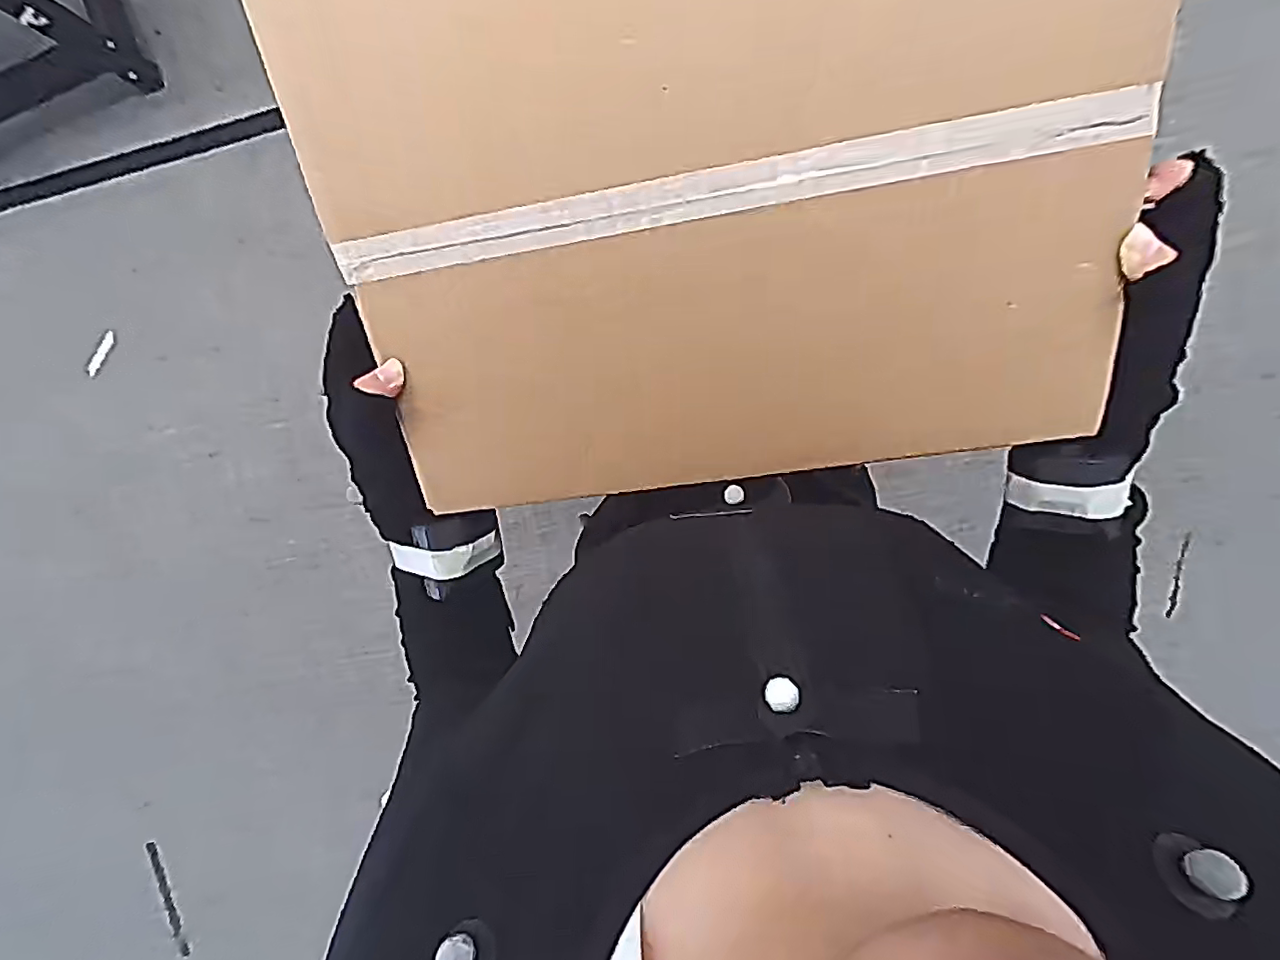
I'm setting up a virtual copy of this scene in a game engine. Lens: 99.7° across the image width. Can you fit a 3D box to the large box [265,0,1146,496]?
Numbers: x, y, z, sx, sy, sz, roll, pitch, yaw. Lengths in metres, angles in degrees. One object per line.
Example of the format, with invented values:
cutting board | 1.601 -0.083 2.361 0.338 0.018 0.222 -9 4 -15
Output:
large box | 0.042 -0.213 0.415 0.408 0.320 0.320 -7 114 7
